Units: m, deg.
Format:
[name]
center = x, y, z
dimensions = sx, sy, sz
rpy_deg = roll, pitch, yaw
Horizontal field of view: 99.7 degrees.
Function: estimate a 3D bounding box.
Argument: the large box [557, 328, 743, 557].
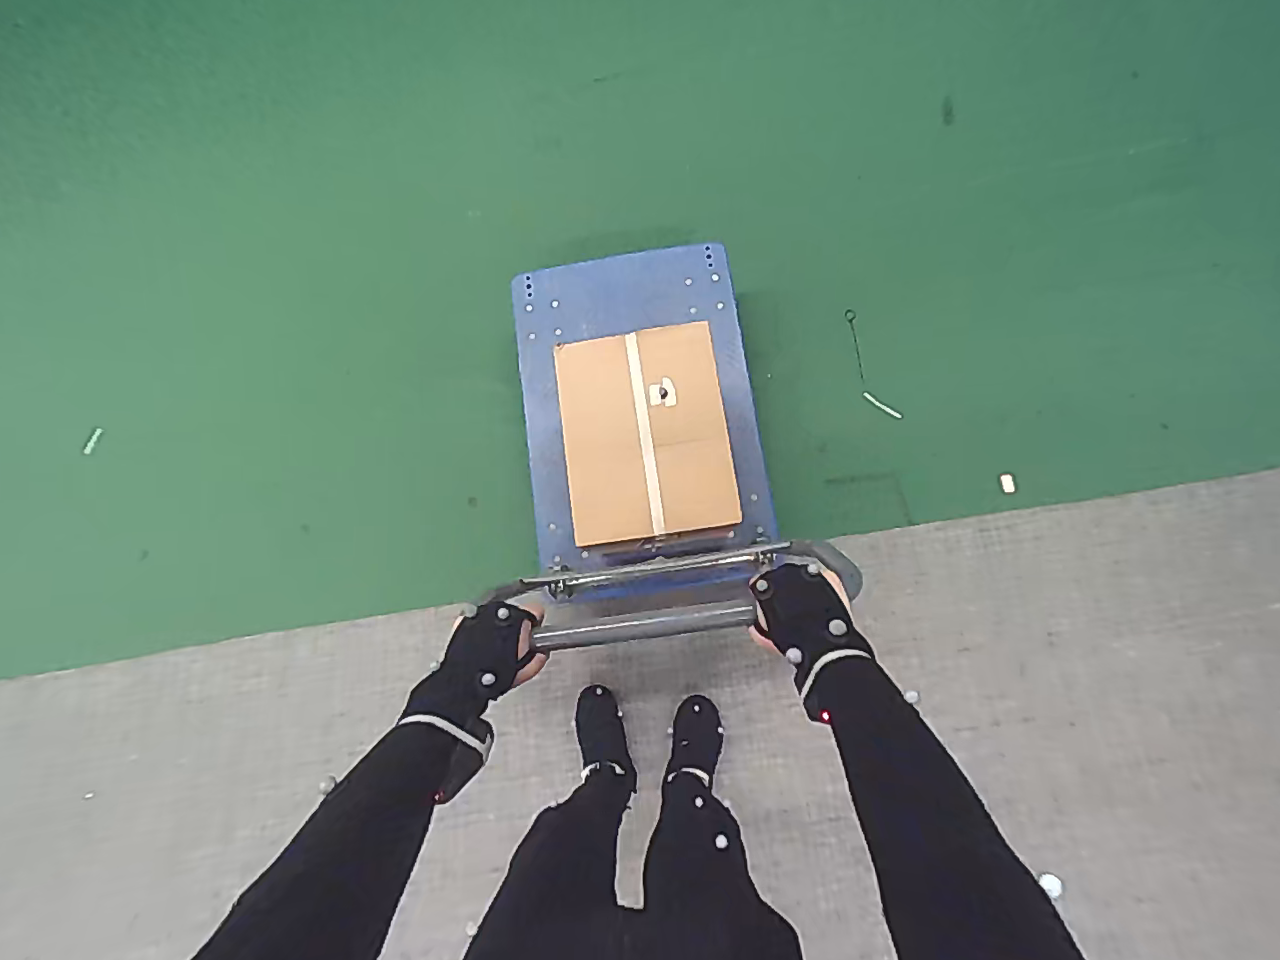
[large box]
center = 0.024, -0.059, 1.180
dimensions = 0.320, 0.320, 0.408
rpy_deg = -8, 78, 2
